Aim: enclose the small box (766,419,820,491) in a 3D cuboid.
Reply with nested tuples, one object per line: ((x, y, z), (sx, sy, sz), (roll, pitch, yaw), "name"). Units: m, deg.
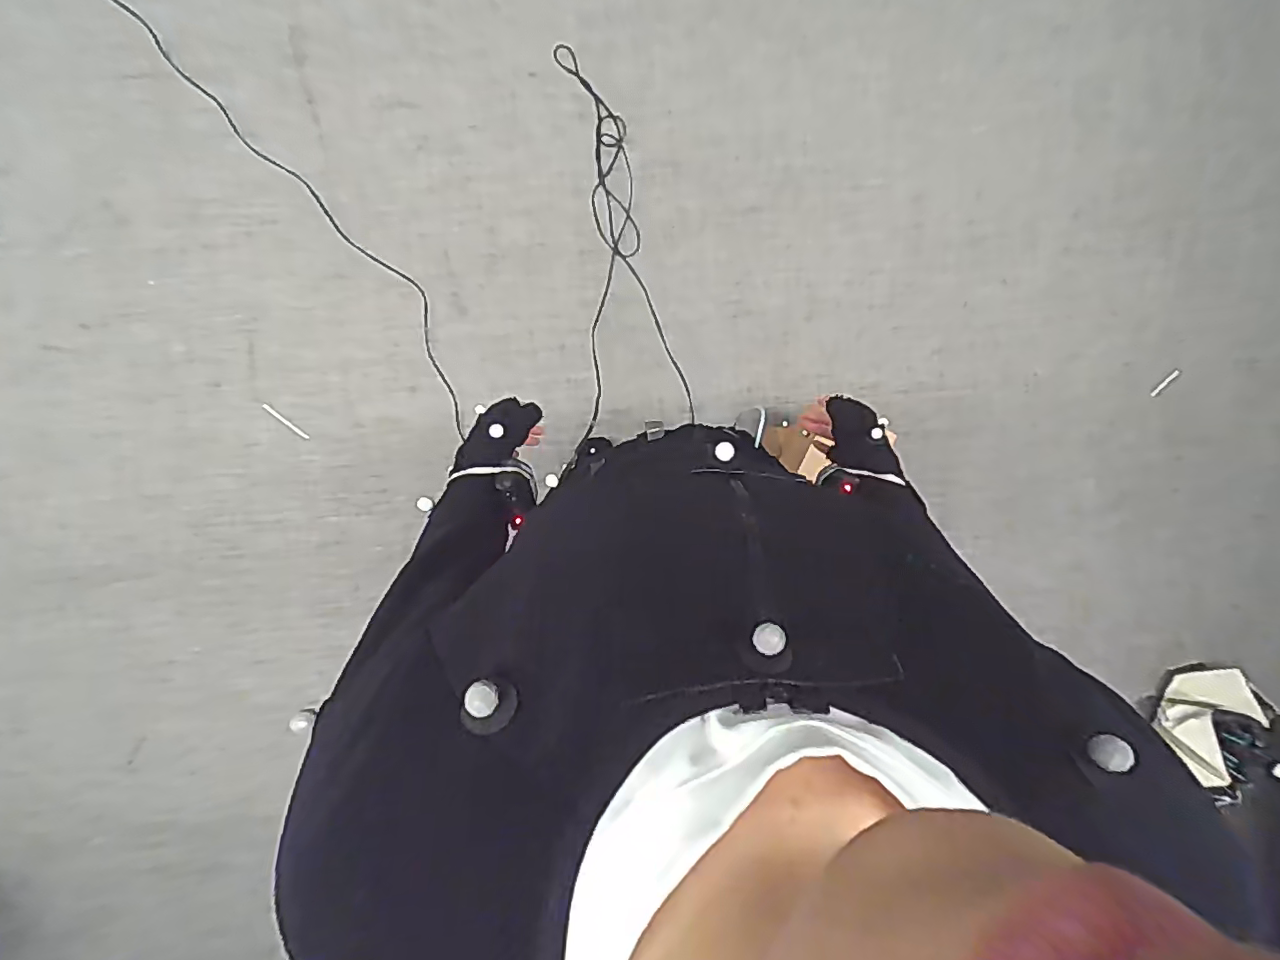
((0.432, -0.073, 1.393), (0.179, 0.176, 0.168), (-10, 97, -1), "small box")

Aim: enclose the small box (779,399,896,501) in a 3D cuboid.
((0.442, -0.073, 1.244), (0.168, 0.176, 0.179), (24, 96, -4), "small box")
